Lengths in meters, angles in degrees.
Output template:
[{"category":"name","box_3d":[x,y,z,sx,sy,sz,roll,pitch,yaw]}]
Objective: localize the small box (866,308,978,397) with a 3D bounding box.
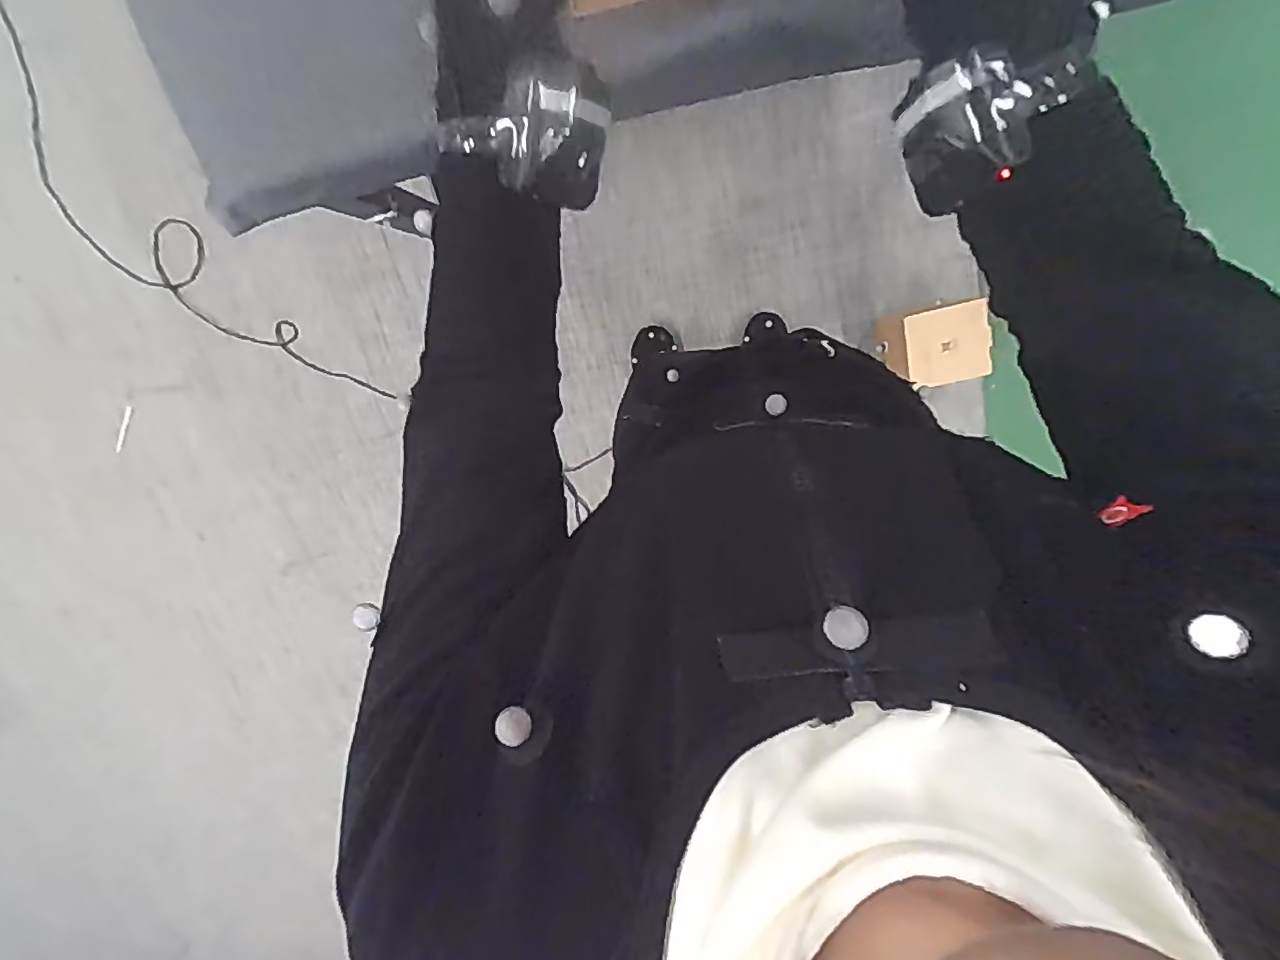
[{"category":"small box","box_3d":[0.651,-0.301,1.258,0.179,0.176,0.168,-12,105,7]}]
